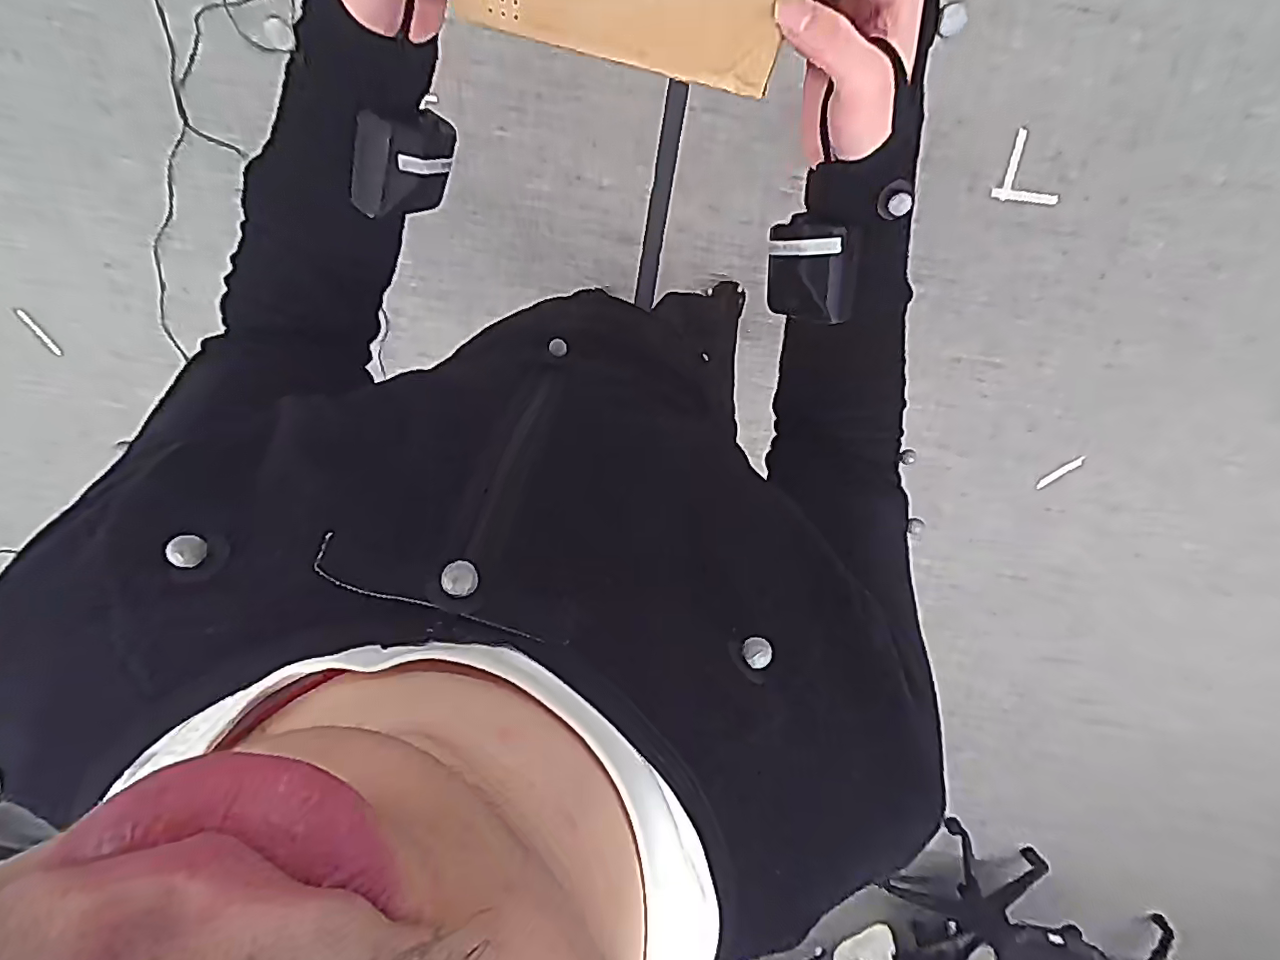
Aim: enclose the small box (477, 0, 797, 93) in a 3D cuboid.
[{"bbox_3d":[0.013,-0.334,0.252,0.176,0.168,0.179,12,66,-5],"label":"small box"}]
